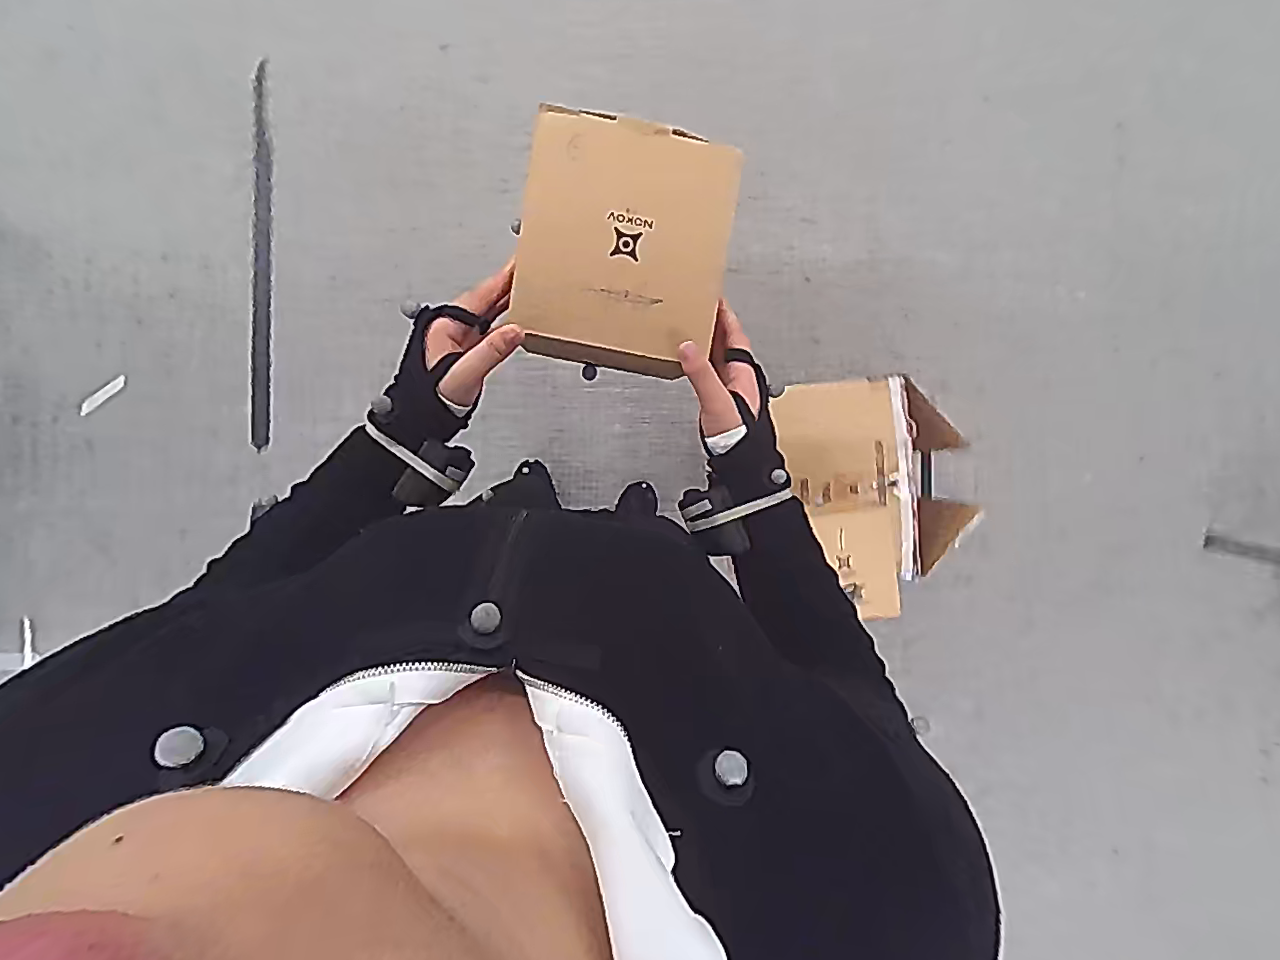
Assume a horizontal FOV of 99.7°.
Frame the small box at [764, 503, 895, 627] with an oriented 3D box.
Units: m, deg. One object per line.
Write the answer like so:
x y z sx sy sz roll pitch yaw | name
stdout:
0.320 0.140 0.940 0.168 0.176 0.179 -6 91 1 | small box

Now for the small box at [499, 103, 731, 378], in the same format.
-0.028 -0.199 0.507 0.168 0.176 0.179 8 96 -7 | small box
